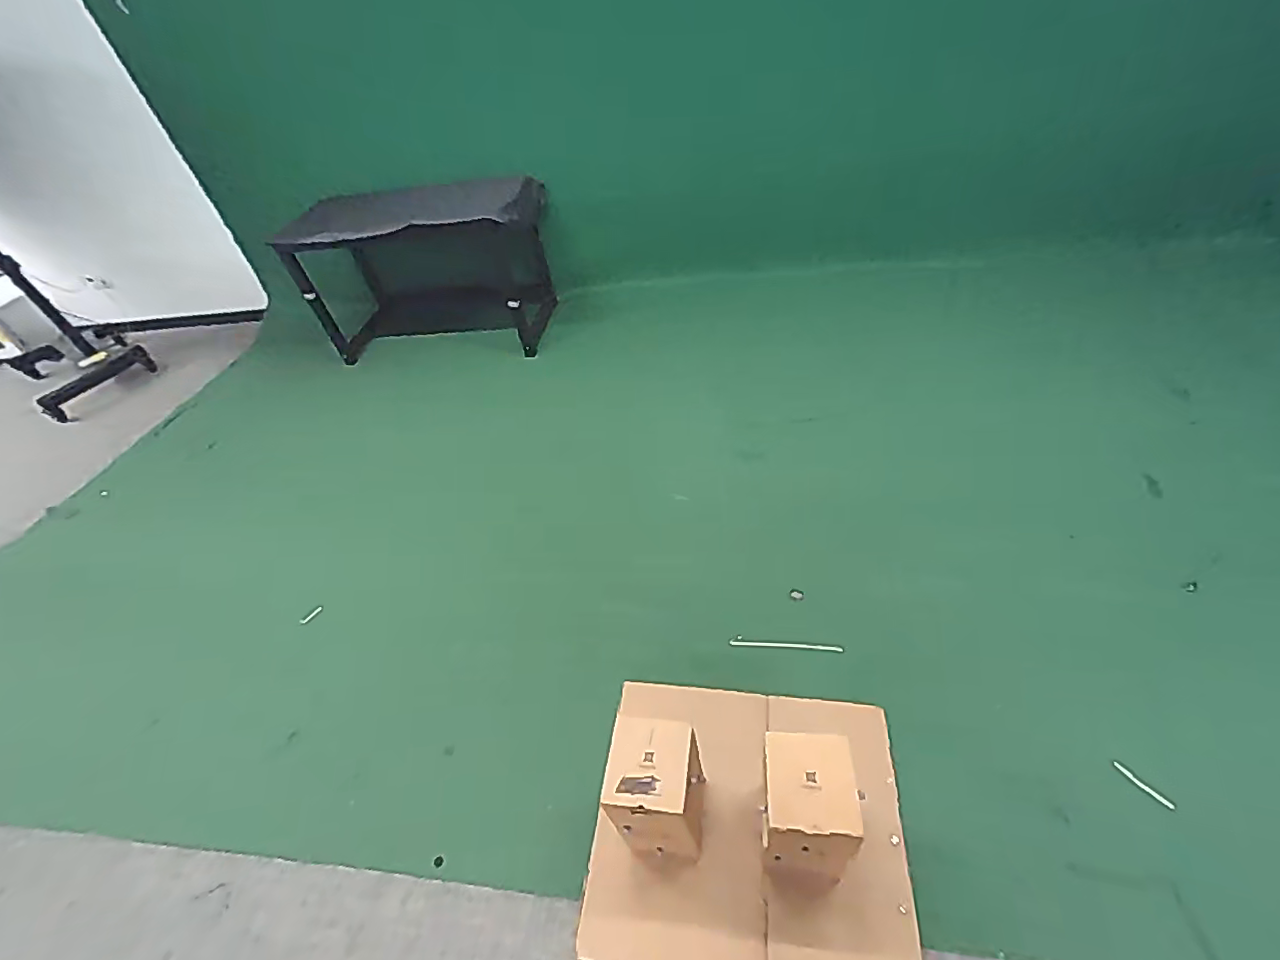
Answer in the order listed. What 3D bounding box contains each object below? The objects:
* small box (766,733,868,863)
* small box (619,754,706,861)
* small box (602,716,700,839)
[{"bbox_3d":[0.337,0.625,1.067,0.168,0.176,0.179,-2,44,10],"label":"small box"},{"bbox_3d":[0.060,0.741,1.240,0.168,0.176,0.179,-1,44,13],"label":"small box"},{"bbox_3d":[0.033,0.622,1.130,0.168,0.176,0.179,0,43,14],"label":"small box"}]
